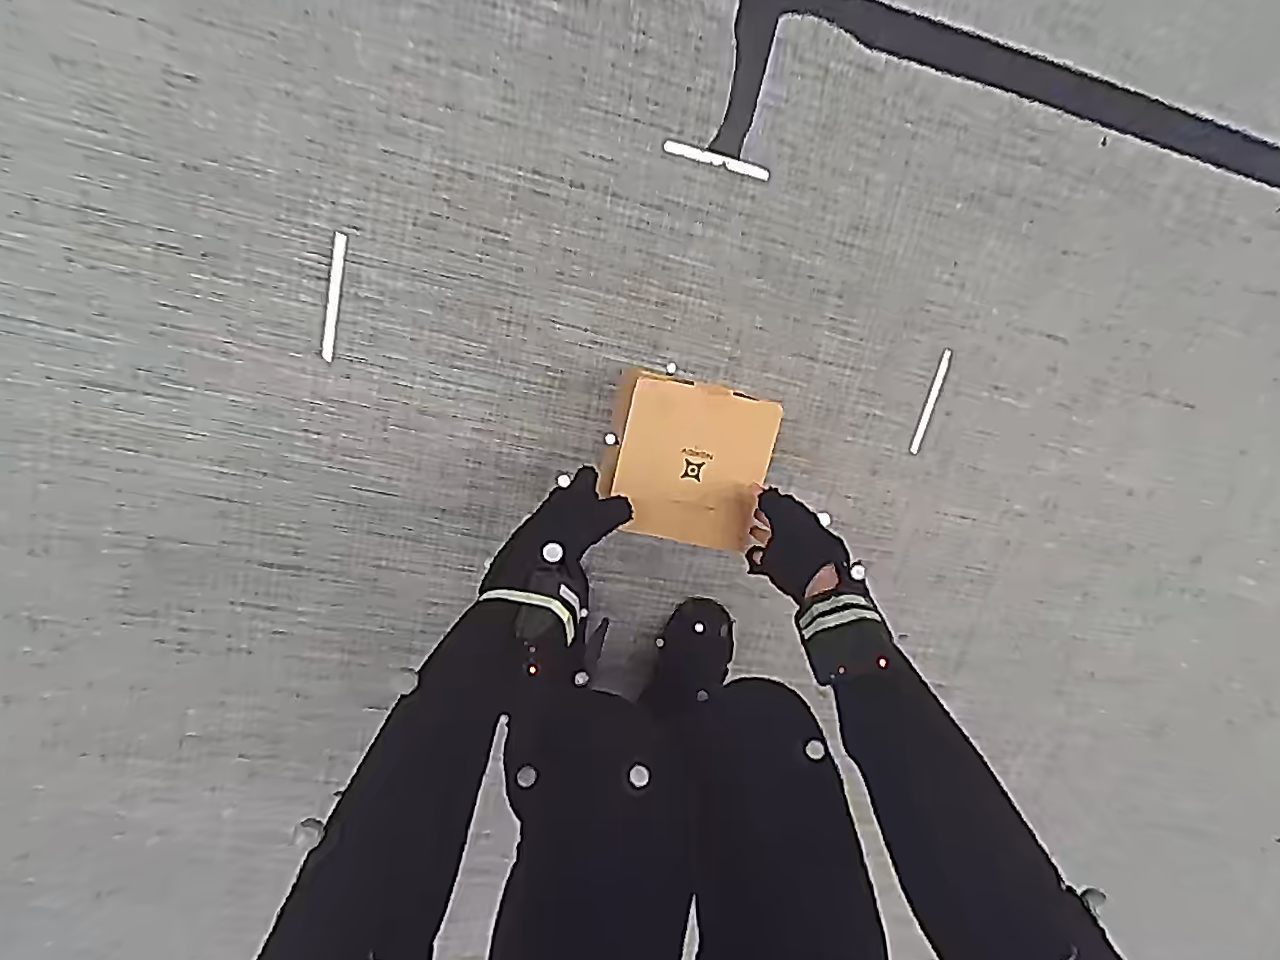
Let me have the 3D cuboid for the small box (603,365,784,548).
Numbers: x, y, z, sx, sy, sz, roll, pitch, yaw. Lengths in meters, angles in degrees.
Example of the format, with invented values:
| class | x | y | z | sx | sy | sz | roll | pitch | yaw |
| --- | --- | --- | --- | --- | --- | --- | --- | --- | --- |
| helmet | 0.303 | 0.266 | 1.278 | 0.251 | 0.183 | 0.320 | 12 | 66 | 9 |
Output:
| class | x | y | z | sx | sy | sz | roll | pitch | yaw |
| --- | --- | --- | --- | --- | --- | --- | --- | --- | --- |
| small box | 0.050 | -0.039 | 0.664 | 0.168 | 0.176 | 0.179 | 12 | 103 | -9 |
